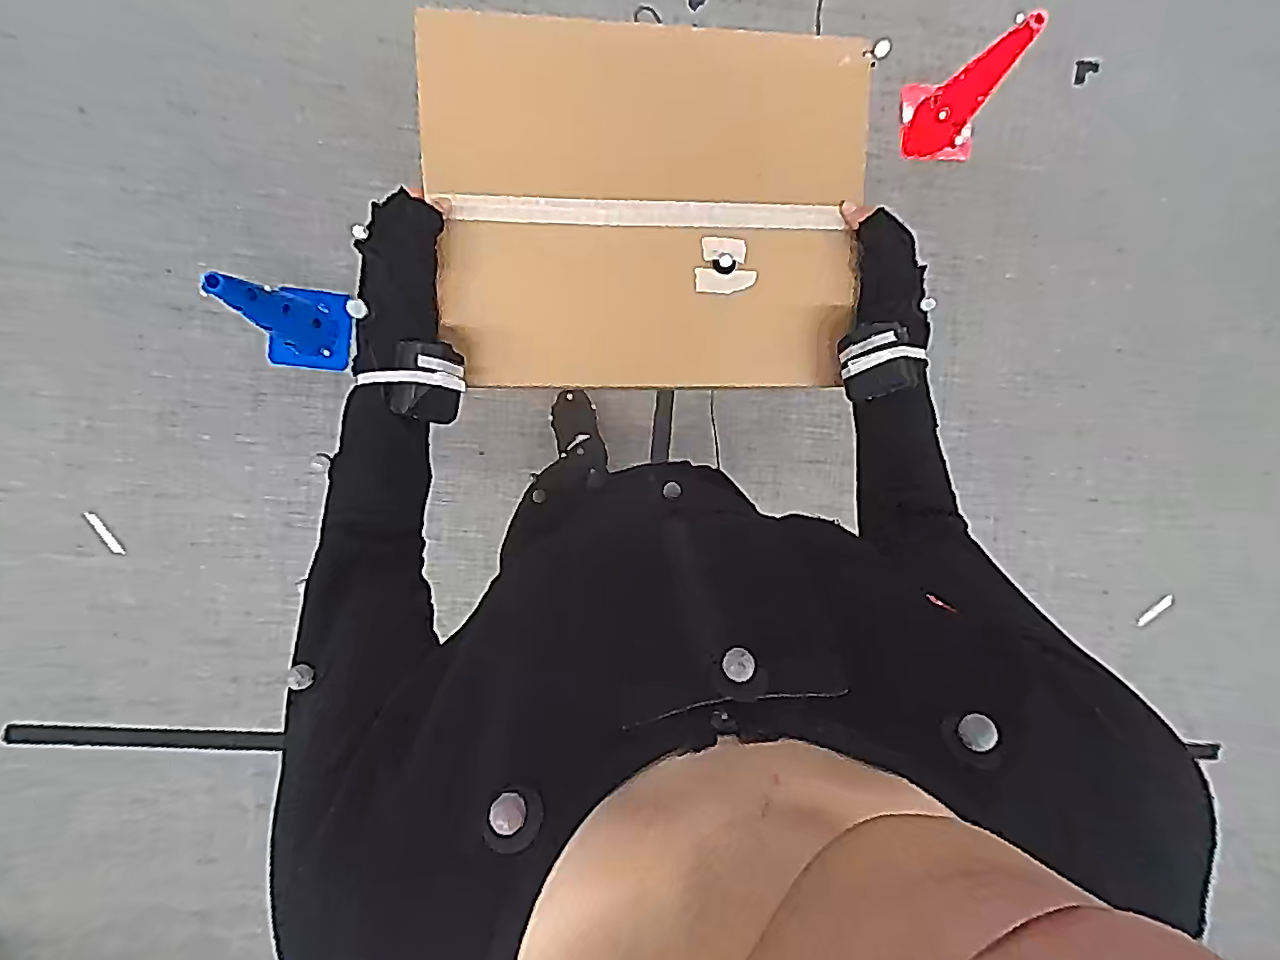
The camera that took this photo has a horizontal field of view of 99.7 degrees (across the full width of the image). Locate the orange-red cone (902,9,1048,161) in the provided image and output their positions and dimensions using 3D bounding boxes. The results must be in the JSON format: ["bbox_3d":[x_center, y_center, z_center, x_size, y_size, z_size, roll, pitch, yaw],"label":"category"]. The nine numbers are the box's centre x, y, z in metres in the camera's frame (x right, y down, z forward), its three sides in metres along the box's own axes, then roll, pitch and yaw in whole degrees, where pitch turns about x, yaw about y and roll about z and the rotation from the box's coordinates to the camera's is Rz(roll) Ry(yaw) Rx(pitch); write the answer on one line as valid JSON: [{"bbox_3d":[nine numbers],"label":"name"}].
[{"bbox_3d":[0.837,-0.992,1.329,0.198,0.360,0.199,1,90,-5],"label":"orange-red cone"}]

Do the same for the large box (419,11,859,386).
[{"bbox_3d":[-0.008,-0.277,0.648,0.408,0.320,0.320,-1,100,-7],"label":"large box"}]

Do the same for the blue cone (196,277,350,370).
[{"bbox_3d":[-0.842,-0.379,1.231,0.192,0.380,0.193,7,91,-3],"label":"blue cone"}]
